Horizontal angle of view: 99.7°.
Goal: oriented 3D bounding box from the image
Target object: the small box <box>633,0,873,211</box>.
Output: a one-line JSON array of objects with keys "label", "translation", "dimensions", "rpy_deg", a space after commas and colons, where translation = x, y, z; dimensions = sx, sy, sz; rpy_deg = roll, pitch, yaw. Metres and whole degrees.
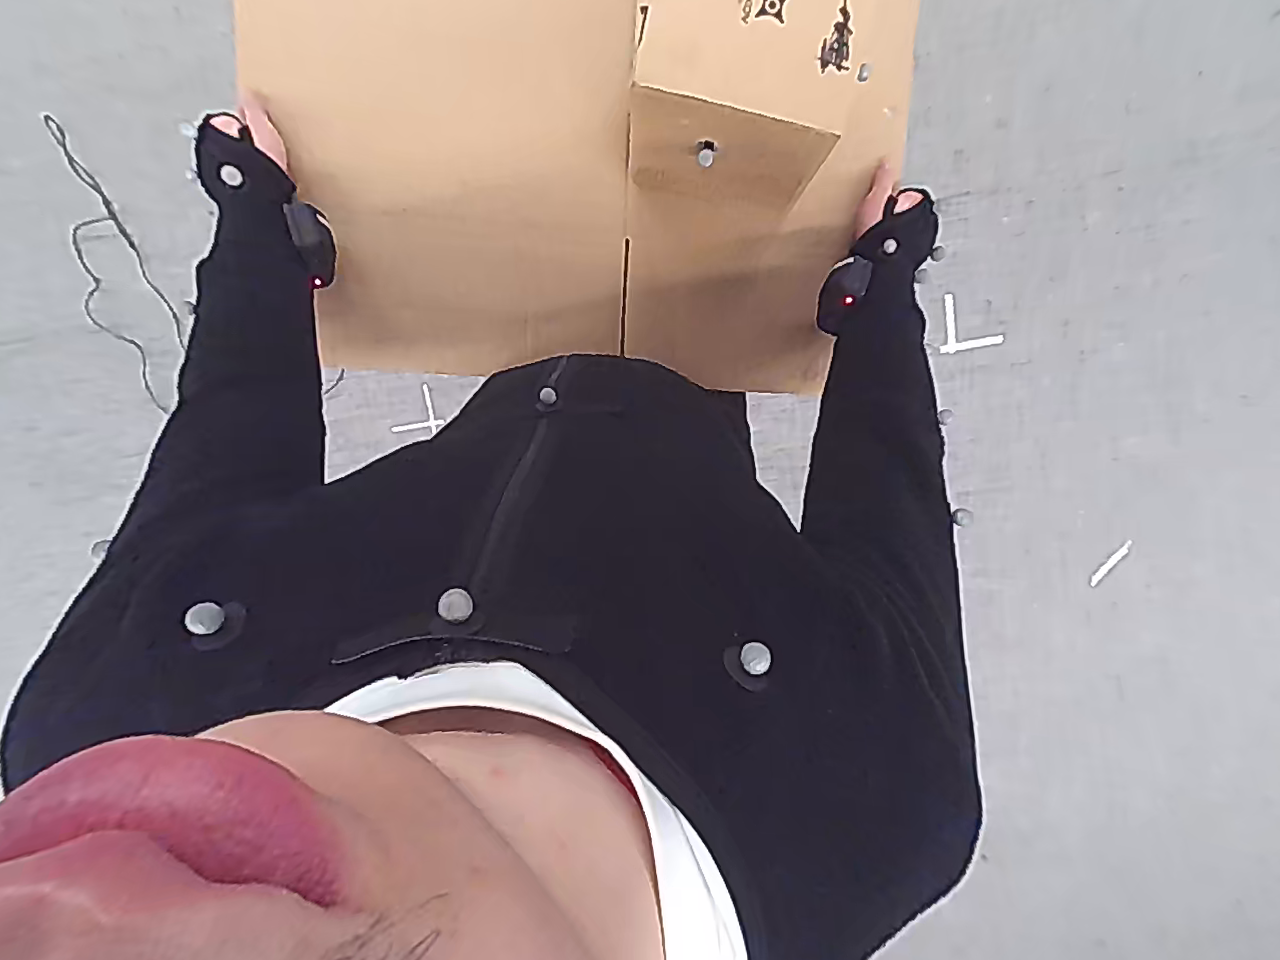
[{"label": "small box", "translation": [0.097, -0.381, 0.510], "dimensions": [0.179, 0.176, 0.168], "rpy_deg": [13, 96, -1]}]
